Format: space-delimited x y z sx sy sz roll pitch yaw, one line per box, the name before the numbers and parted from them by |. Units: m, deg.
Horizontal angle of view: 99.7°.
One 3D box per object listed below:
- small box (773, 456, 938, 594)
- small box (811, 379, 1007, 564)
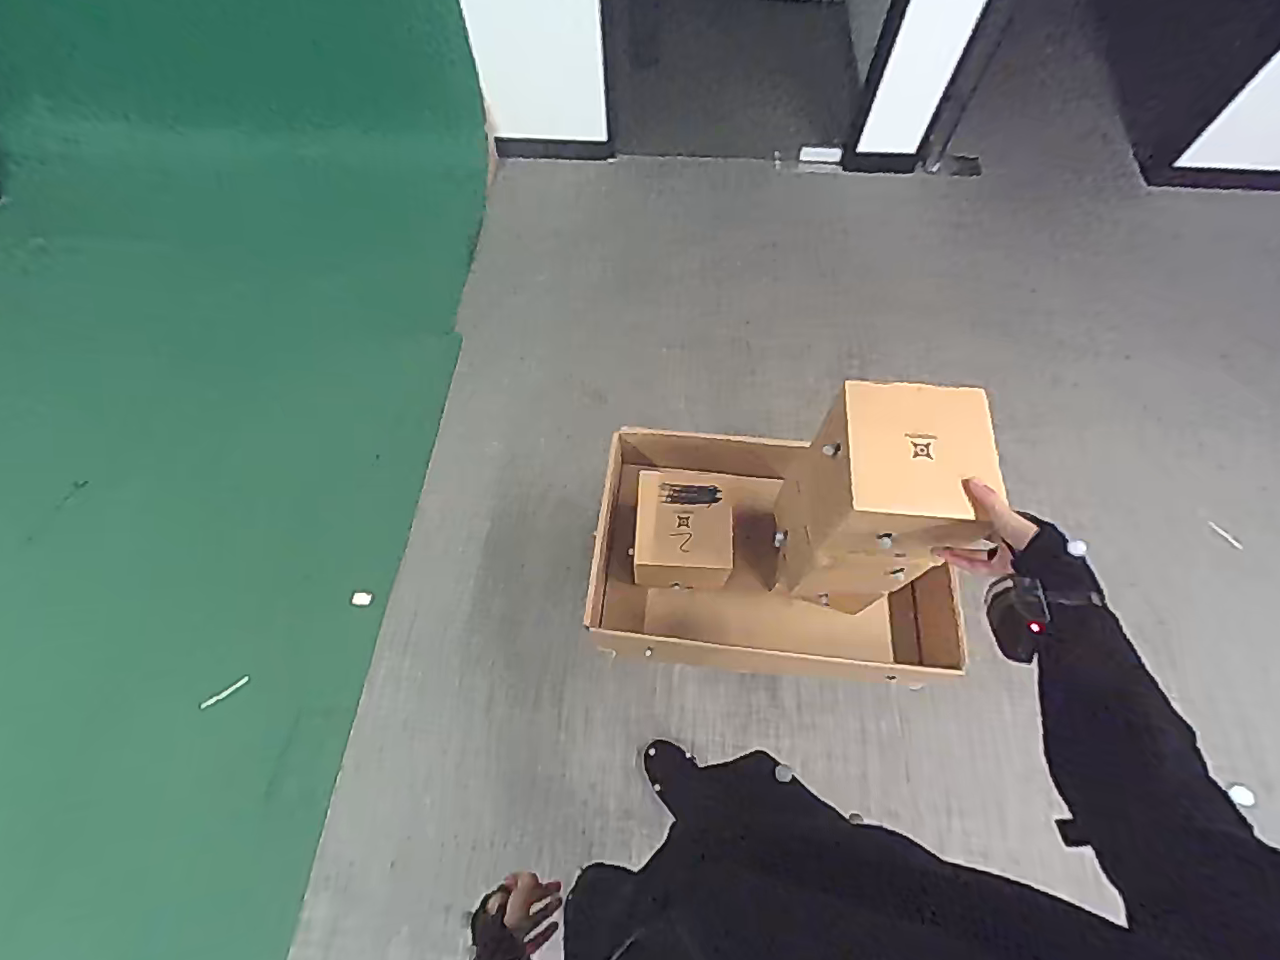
small box | 0.315 0.072 0.826 0.179 0.176 0.168 -3 63 1
small box | 0.319 -0.004 0.682 0.168 0.176 0.179 5 64 5
